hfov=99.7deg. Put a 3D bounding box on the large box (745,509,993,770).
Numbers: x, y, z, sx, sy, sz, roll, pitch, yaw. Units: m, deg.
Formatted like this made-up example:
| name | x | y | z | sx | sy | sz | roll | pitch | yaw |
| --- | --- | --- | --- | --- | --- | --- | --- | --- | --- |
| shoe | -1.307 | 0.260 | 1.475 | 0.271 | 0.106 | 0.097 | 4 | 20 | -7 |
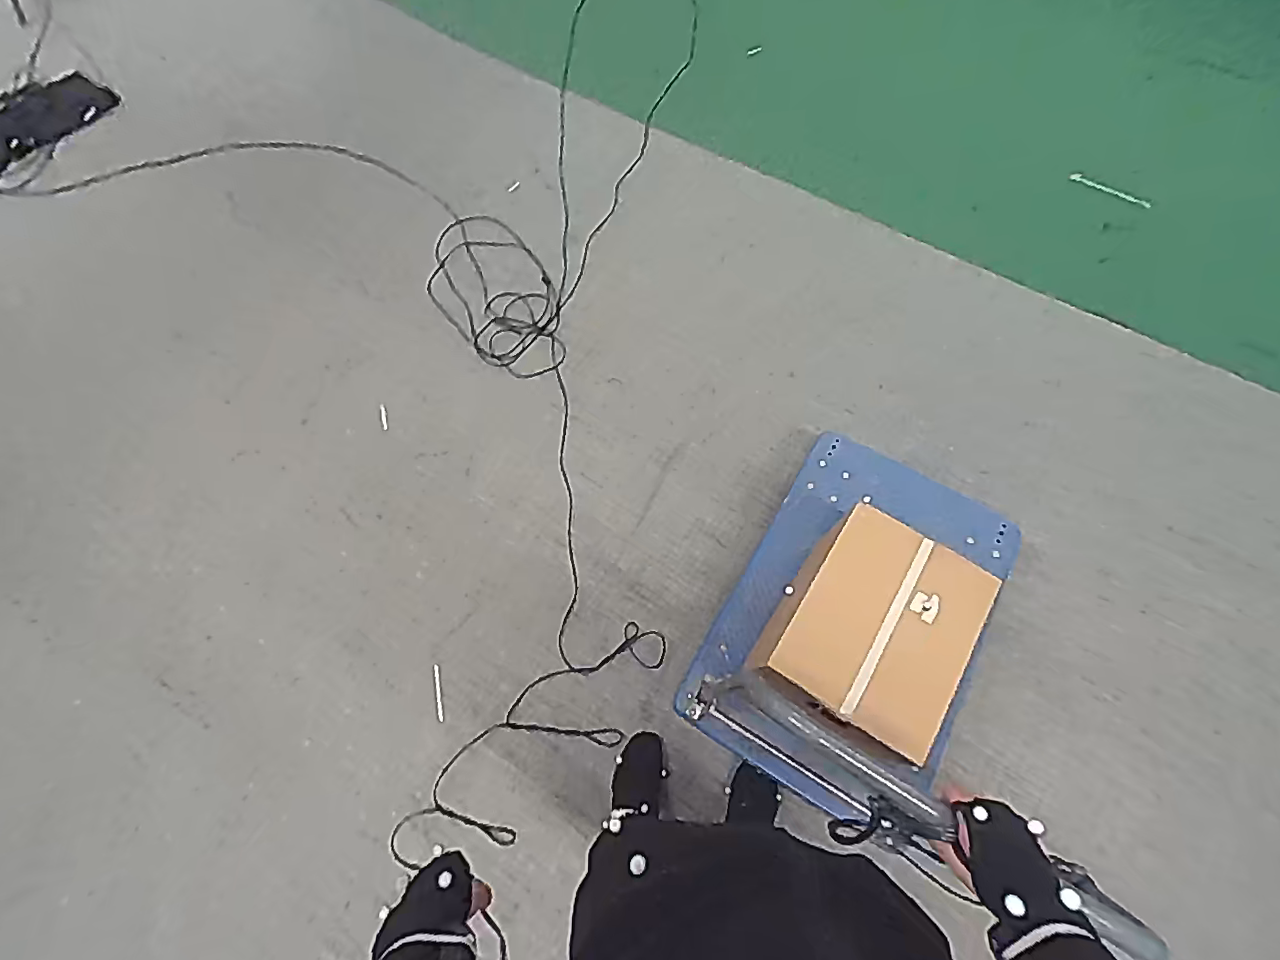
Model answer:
| name | x | y | z | sx | sy | sz | roll | pitch | yaw |
| --- | --- | --- | --- | --- | --- | --- | --- | --- | --- |
| large box | 0.475 | 0.347 | 1.183 | 0.320 | 0.320 | 0.408 | 32 | 70 | 12 |
